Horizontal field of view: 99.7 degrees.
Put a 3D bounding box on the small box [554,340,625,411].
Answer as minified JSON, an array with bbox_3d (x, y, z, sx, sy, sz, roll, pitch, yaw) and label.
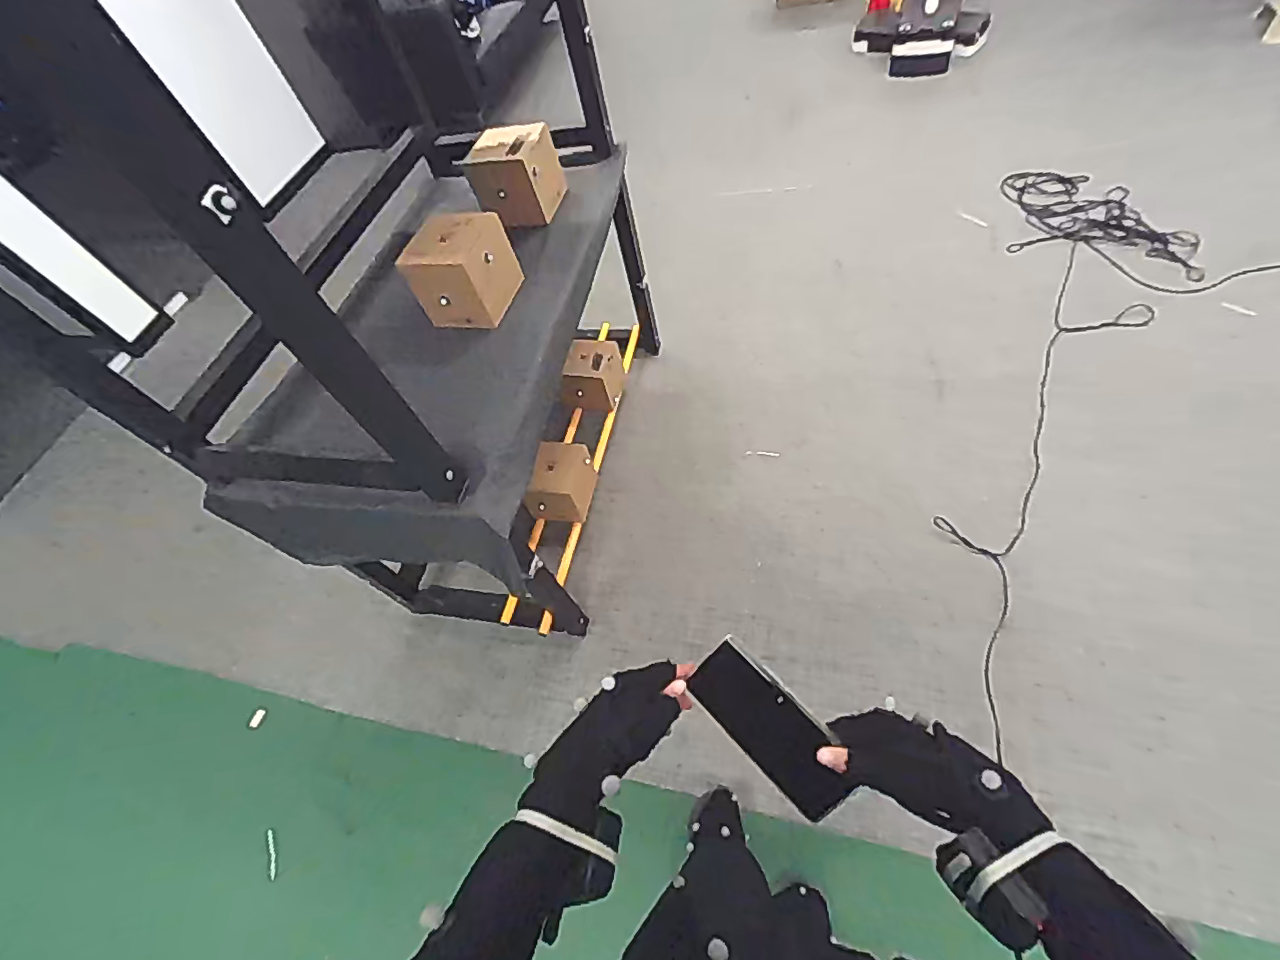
[{"bbox_3d":[-0.162,-0.349,1.828,0.179,0.176,0.168,7,58,17],"label":"small box"}]

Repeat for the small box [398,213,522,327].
[{"bbox_3d":[-0.381,-0.455,1.185,0.168,0.176,0.179,7,58,17],"label":"small box"}]
